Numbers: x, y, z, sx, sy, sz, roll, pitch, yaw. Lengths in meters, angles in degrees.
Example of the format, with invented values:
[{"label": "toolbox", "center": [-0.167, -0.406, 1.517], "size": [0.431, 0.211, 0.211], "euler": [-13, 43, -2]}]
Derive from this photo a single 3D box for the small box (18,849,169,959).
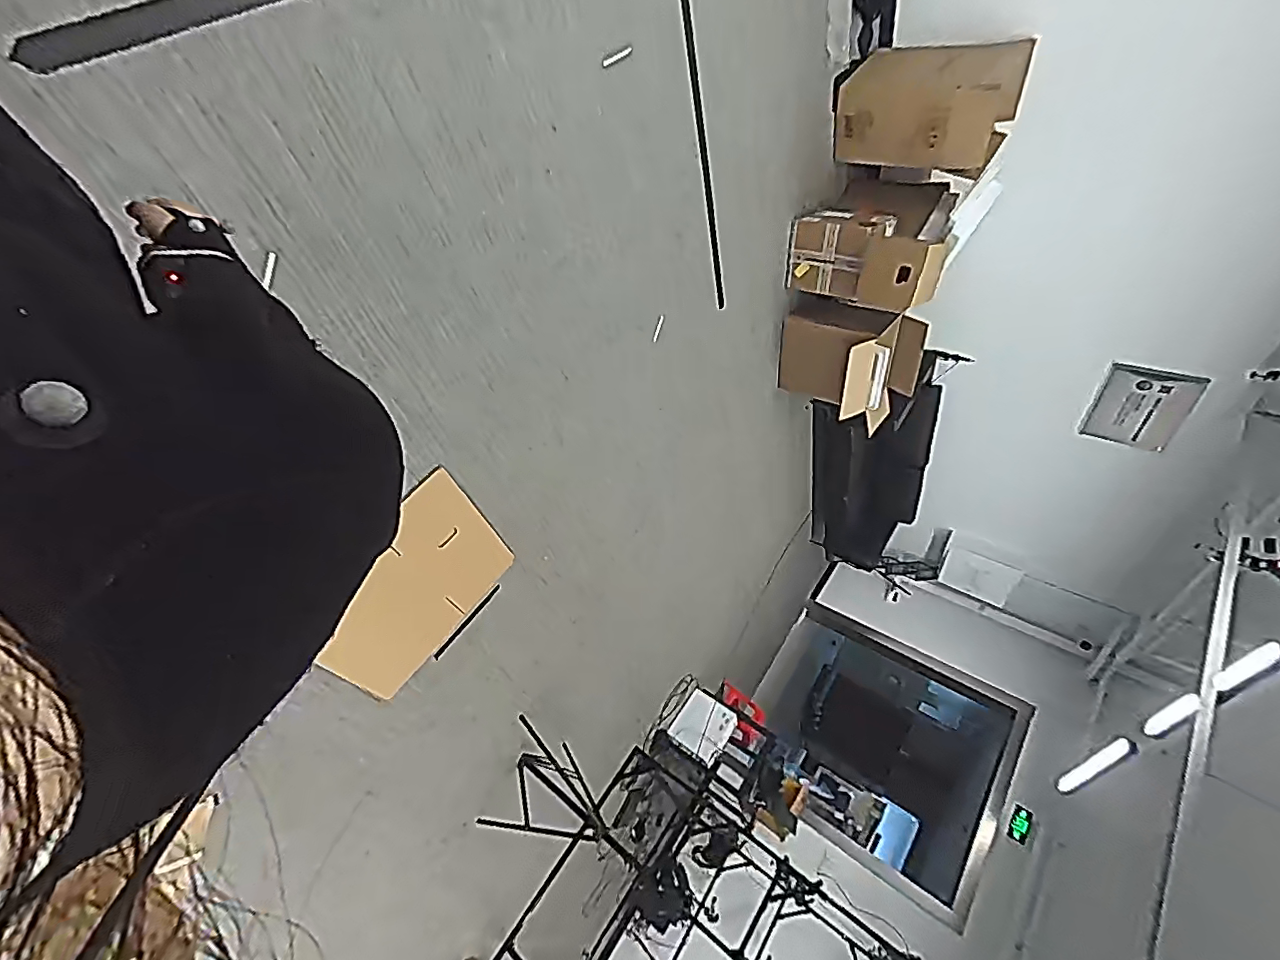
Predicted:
[{"label": "small box", "center": [-1.087, 0.890, 1.076], "size": [0.179, 0.176, 0.168], "euler": [6, 104, -55]}]
